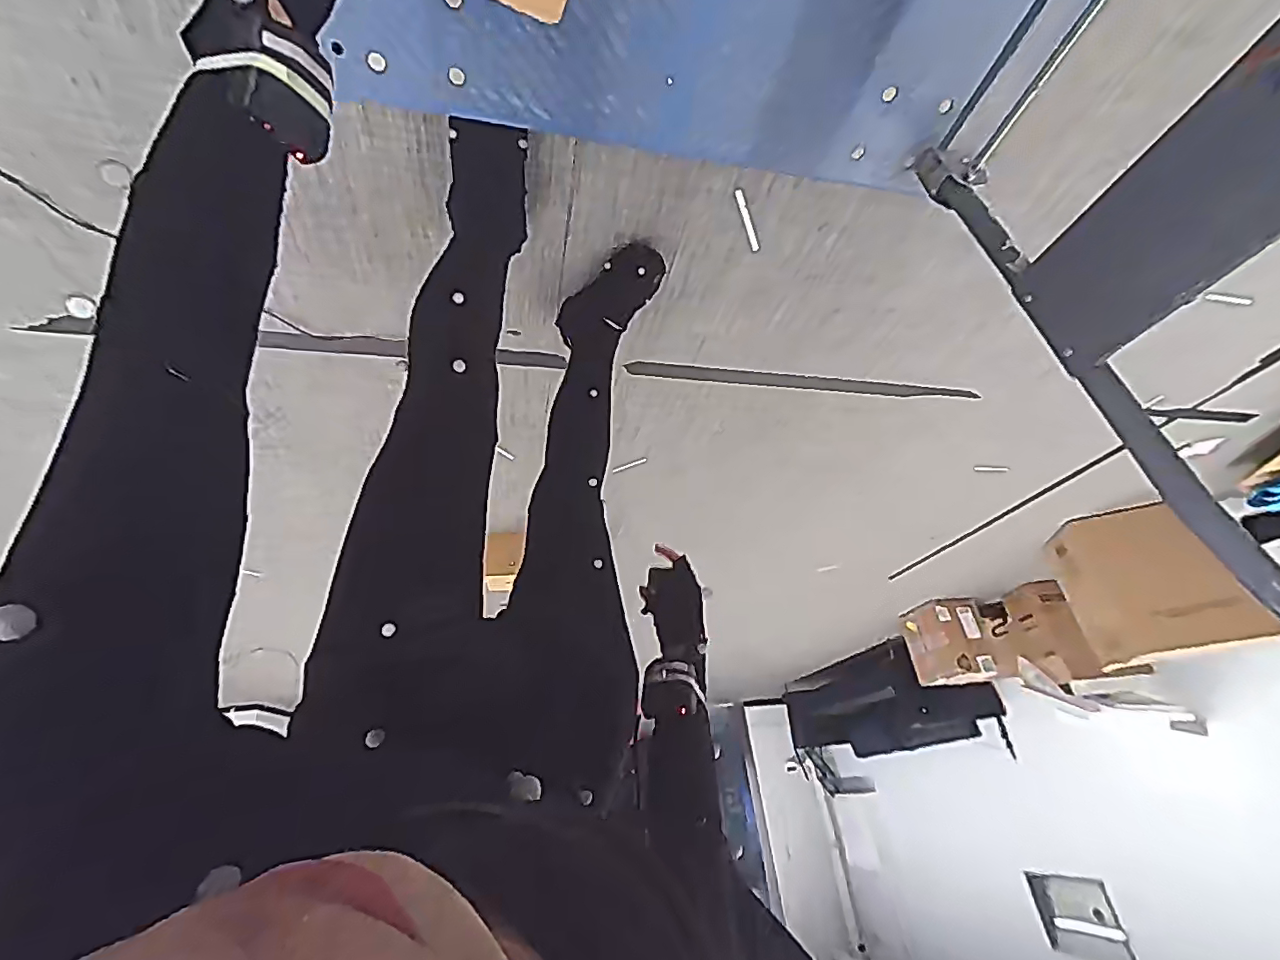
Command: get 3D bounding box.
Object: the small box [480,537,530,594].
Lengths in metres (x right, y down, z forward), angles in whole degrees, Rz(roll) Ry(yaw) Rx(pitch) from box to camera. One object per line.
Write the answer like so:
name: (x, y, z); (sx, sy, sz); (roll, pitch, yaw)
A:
small box: (-0.512, 0.324, 2.062); (0.179, 0.176, 0.168); (0, 149, -10)
